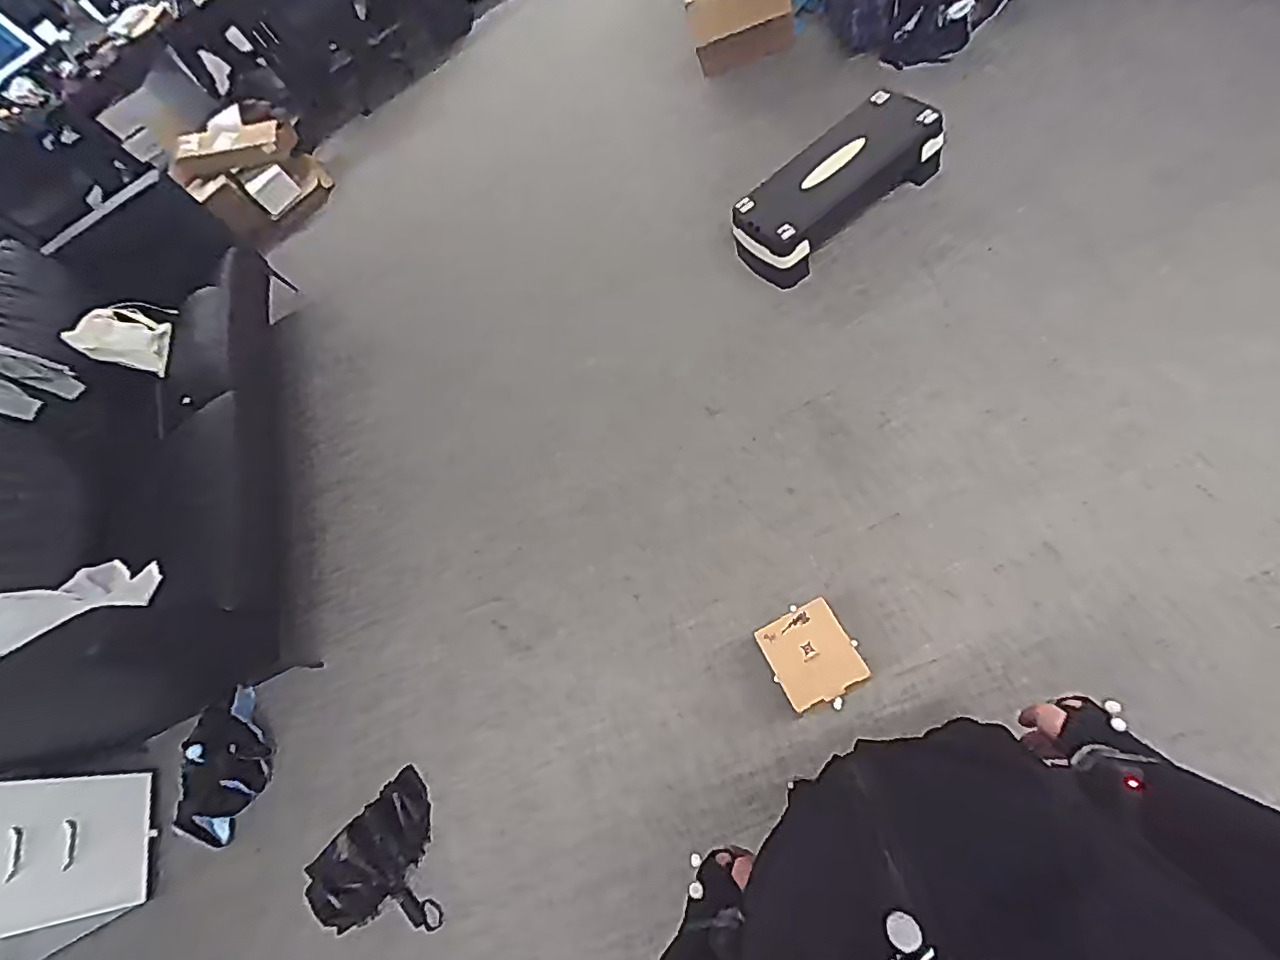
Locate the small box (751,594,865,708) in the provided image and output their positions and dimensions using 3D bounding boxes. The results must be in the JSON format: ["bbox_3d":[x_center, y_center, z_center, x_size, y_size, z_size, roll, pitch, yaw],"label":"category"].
[{"bbox_3d":[0.364,0.370,1.164,0.168,0.176,0.179,-30,61,7],"label":"small box"}]
